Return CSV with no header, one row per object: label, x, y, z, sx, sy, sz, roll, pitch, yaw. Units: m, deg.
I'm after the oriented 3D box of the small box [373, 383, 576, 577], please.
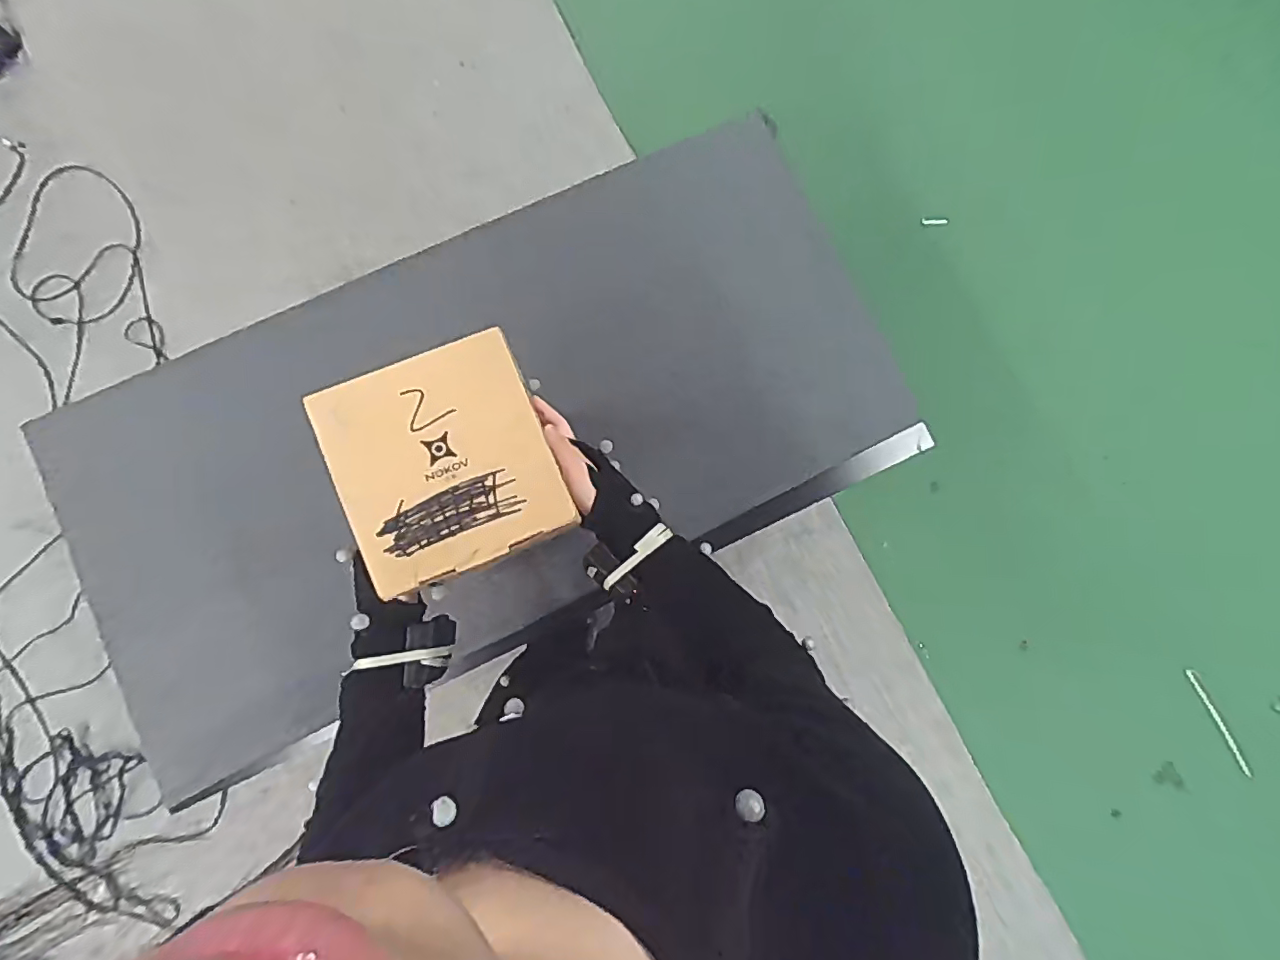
small box,-0.197,0.008,0.695,0.168,0.176,0.179,-29,85,-3
